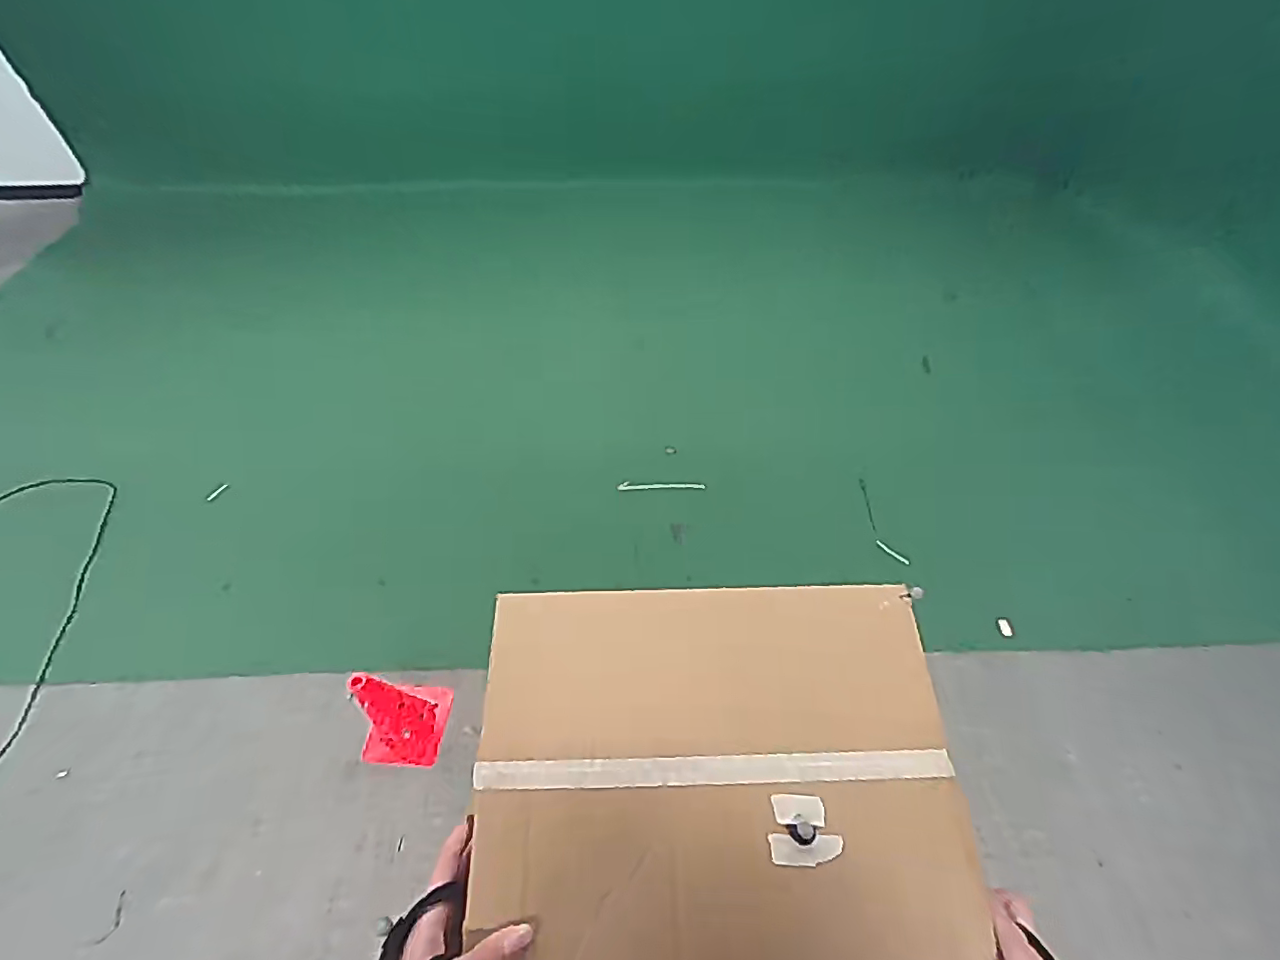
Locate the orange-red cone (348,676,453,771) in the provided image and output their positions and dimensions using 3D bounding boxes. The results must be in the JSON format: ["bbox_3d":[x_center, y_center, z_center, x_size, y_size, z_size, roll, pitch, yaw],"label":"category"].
[{"bbox_3d":[-0.632,0.567,1.337,0.199,0.360,0.198,3,50,5],"label":"orange-red cone"}]

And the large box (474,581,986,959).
[{"bbox_3d":[0.063,0.315,0.610,0.408,0.320,0.320,-2,63,0],"label":"large box"}]
